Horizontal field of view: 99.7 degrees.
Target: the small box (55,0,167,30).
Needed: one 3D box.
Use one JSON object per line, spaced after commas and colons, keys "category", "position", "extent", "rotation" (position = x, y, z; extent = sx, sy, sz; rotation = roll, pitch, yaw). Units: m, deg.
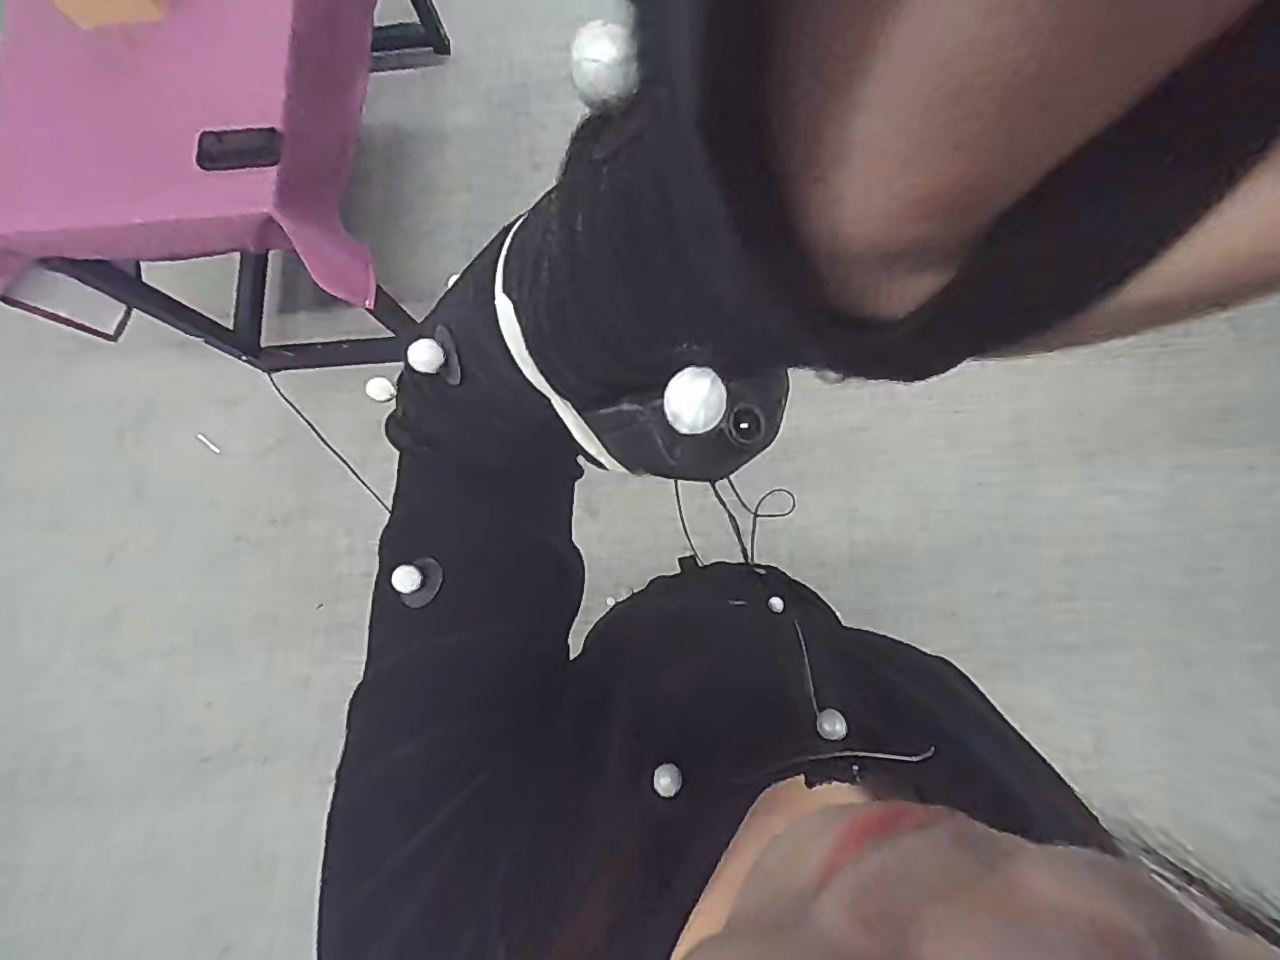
{"category": "small box", "position": [-1.007, -0.976, 0.988], "extent": [0.179, 0.176, 0.168], "rotation": [-4, 79, 4]}
